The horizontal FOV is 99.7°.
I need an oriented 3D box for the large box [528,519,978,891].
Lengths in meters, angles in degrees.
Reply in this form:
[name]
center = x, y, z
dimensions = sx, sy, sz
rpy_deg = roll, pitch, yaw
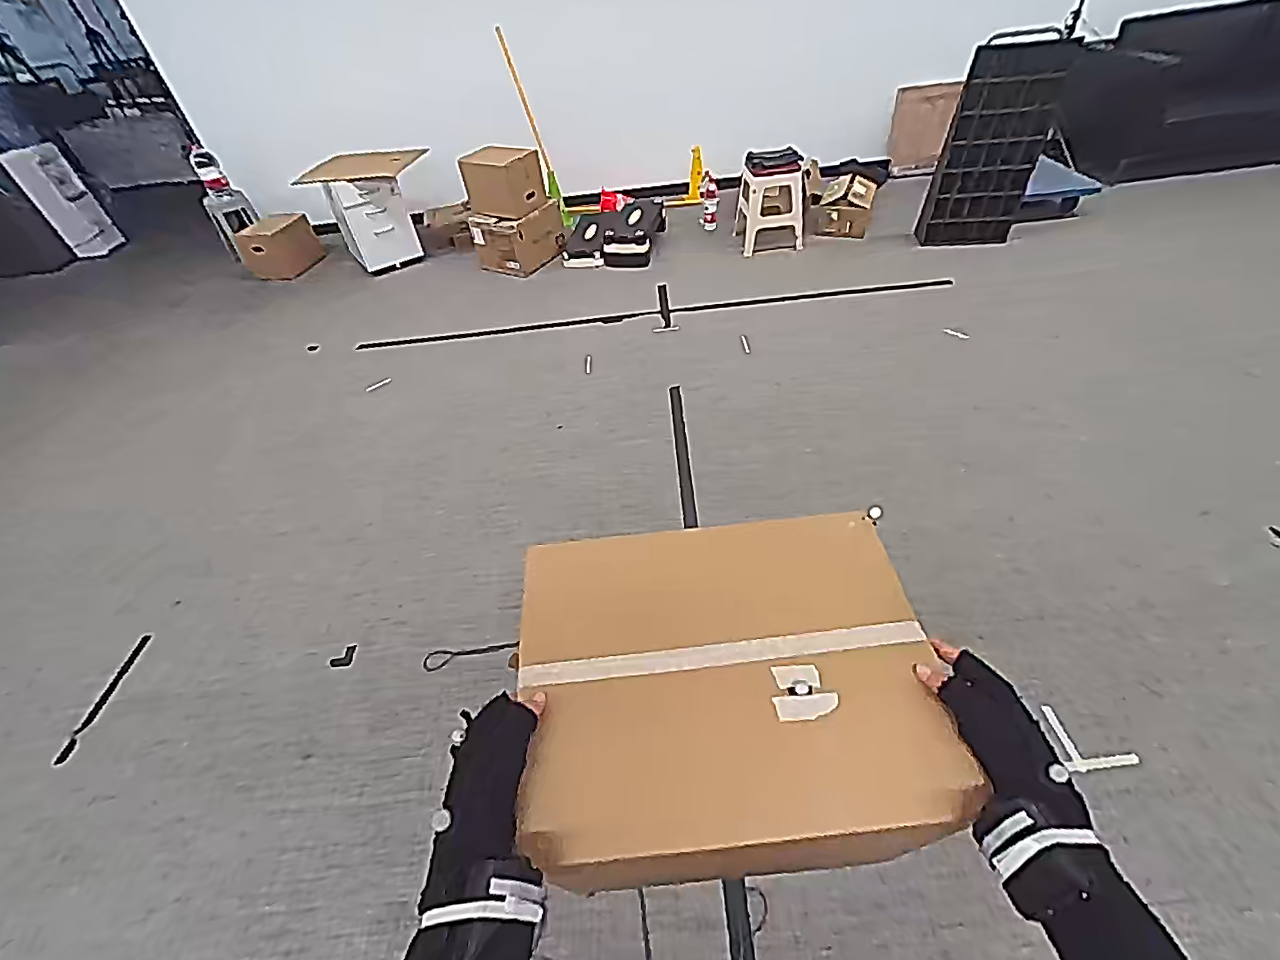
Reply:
[large box]
center = 0.092, 0.282, 0.671
dimensions = 0.408, 0.320, 0.320
rpy_deg = -7, 50, -1
